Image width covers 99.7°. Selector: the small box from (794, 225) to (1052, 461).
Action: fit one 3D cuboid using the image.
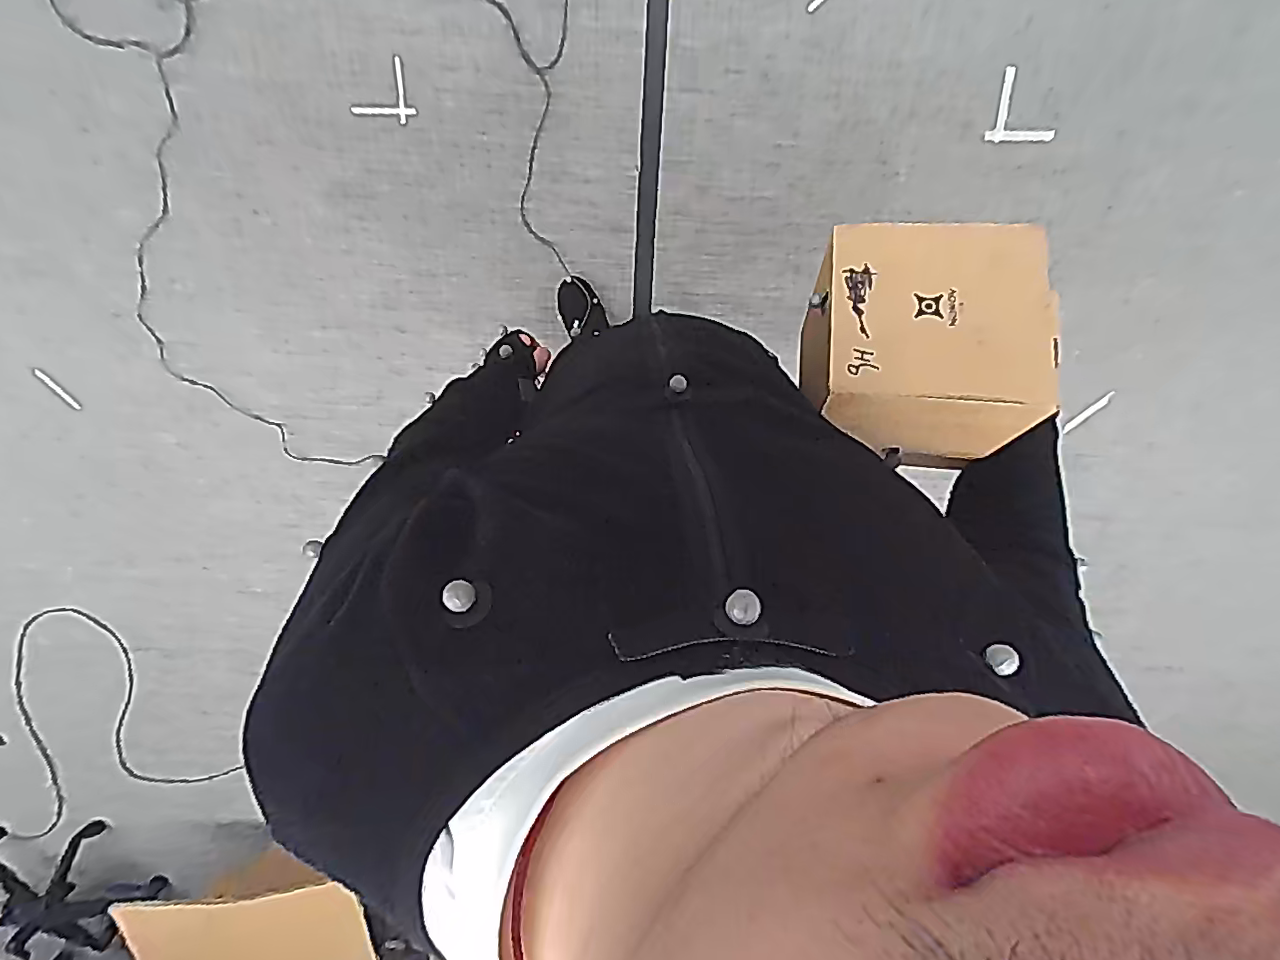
[{"bbox_3d":[0.261,-0.124,0.538,0.179,0.176,0.168,5,74,8],"label":"small box"}]
